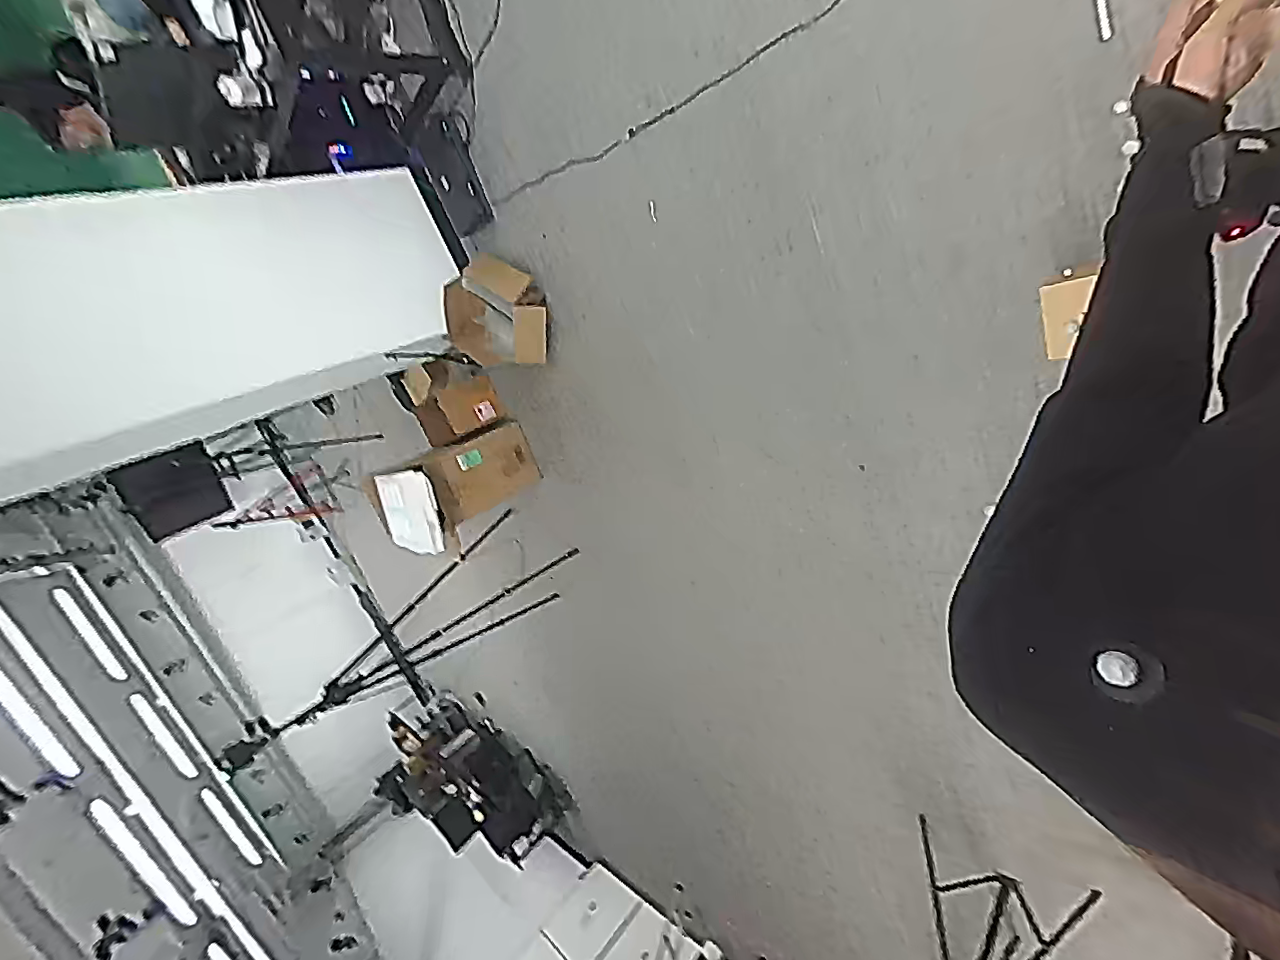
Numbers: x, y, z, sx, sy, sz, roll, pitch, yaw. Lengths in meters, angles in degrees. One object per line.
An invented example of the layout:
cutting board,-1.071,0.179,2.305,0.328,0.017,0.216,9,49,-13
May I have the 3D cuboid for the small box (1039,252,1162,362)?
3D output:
small box,0.993,-0.370,1.164,0.179,0.176,0.168,-1,116,48
